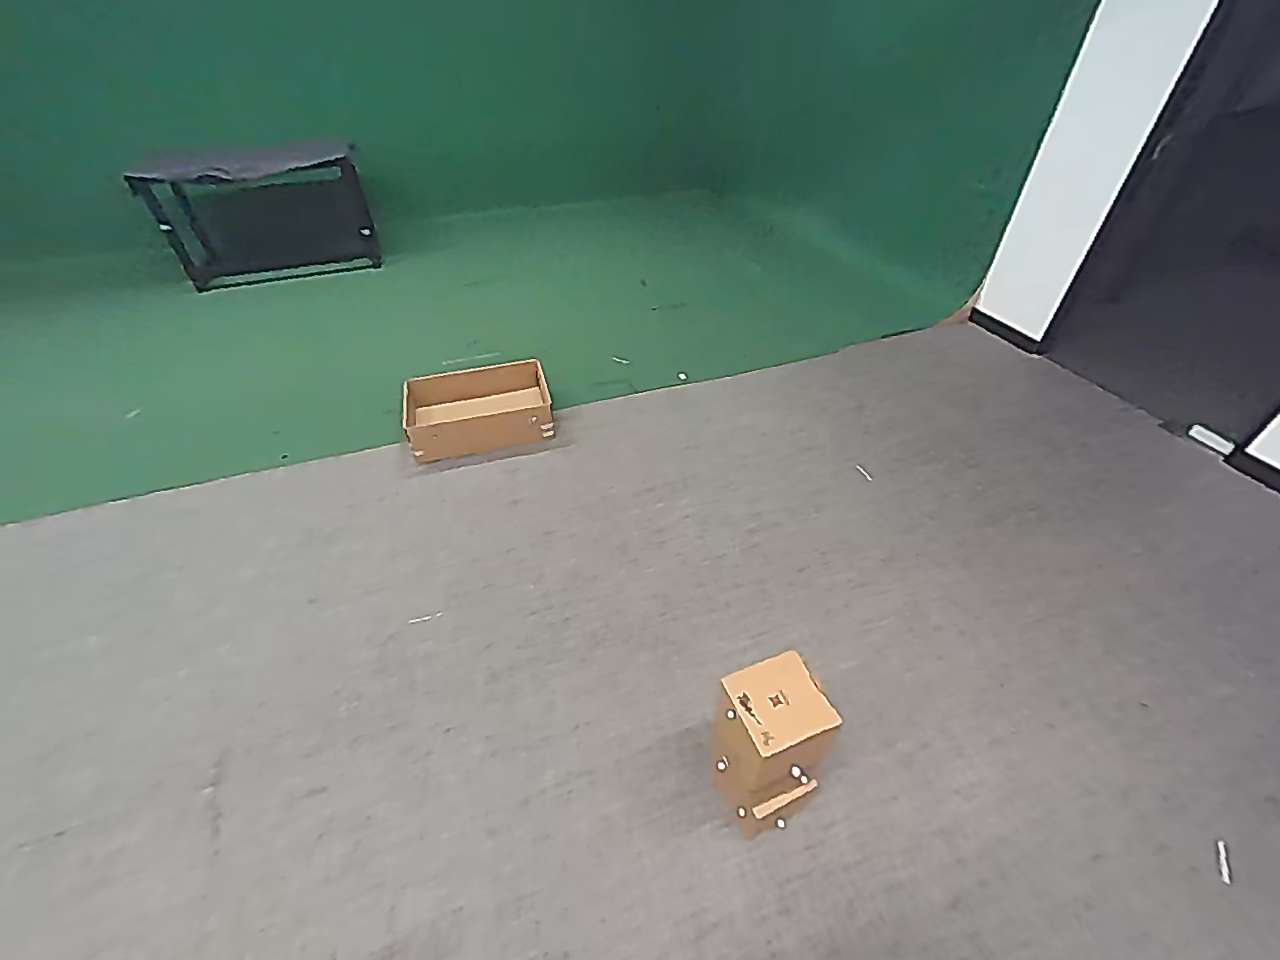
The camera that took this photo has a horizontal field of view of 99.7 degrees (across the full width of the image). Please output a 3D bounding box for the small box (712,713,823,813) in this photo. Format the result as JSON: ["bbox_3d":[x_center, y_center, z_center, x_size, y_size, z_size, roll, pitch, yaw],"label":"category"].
[{"bbox_3d":[0.275,0.606,1.209,0.179,0.176,0.168,-15,44,-14],"label":"small box"}]

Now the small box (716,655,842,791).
[{"bbox_3d":[0.270,0.490,1.092,0.179,0.176,0.168,-14,43,-15],"label":"small box"}]
